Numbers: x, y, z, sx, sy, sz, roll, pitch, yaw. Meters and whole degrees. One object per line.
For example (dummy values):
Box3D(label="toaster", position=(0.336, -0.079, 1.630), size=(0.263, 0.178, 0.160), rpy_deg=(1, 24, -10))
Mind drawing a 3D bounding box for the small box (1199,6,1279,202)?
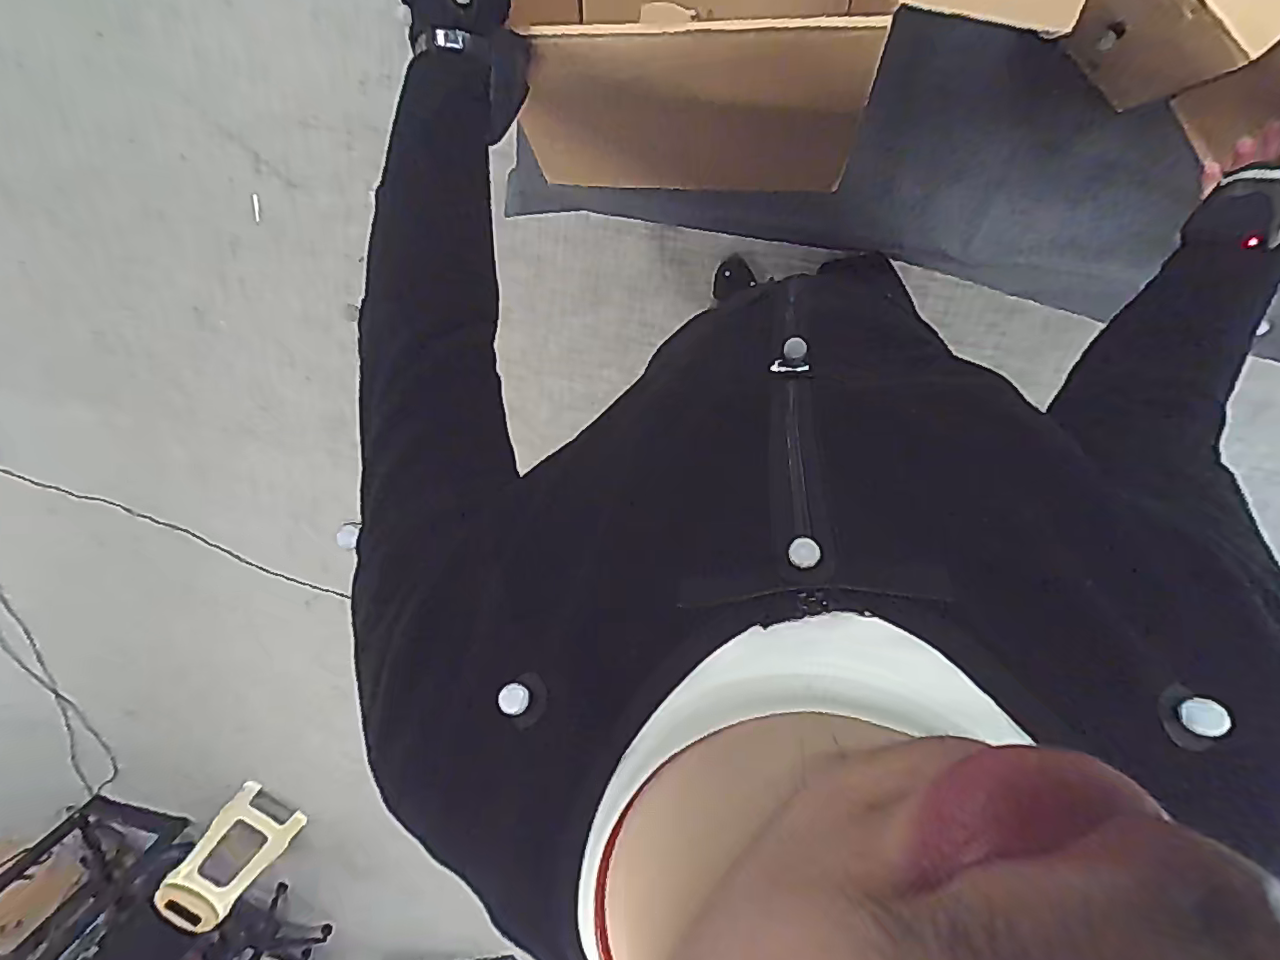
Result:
Box3D(label="small box", position=(0.671, -0.377, 0.481), size=(0.179, 0.176, 0.168), rpy_deg=(-38, 102, 22))
